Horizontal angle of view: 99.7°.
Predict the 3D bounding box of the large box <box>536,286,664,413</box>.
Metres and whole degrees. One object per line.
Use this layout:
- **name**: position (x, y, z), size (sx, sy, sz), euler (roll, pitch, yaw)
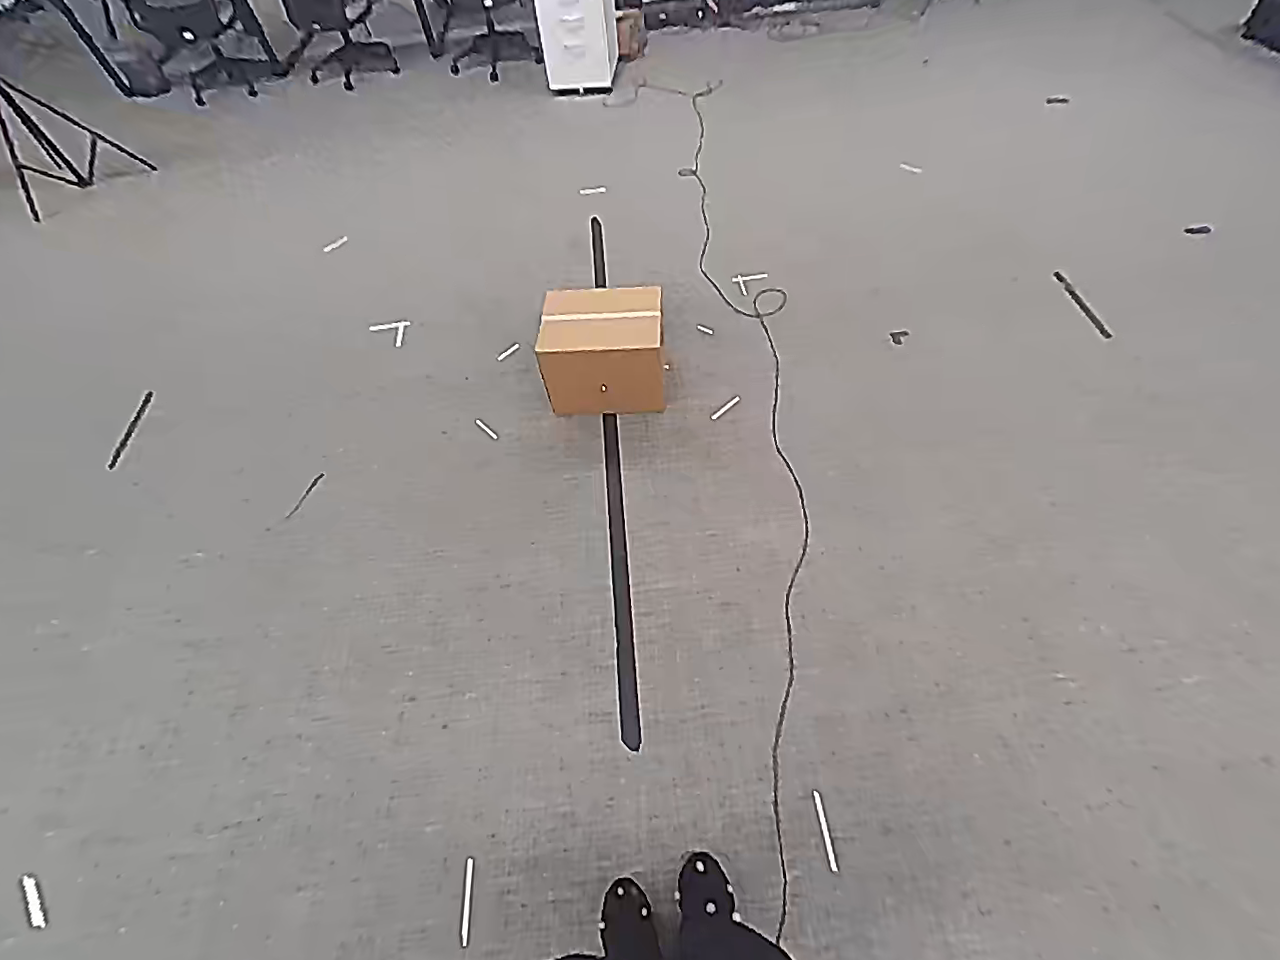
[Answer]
- **large box**: position (-0.123, -0.453, 1.909), size (0.408, 0.320, 0.320), euler (-1, 57, 4)
